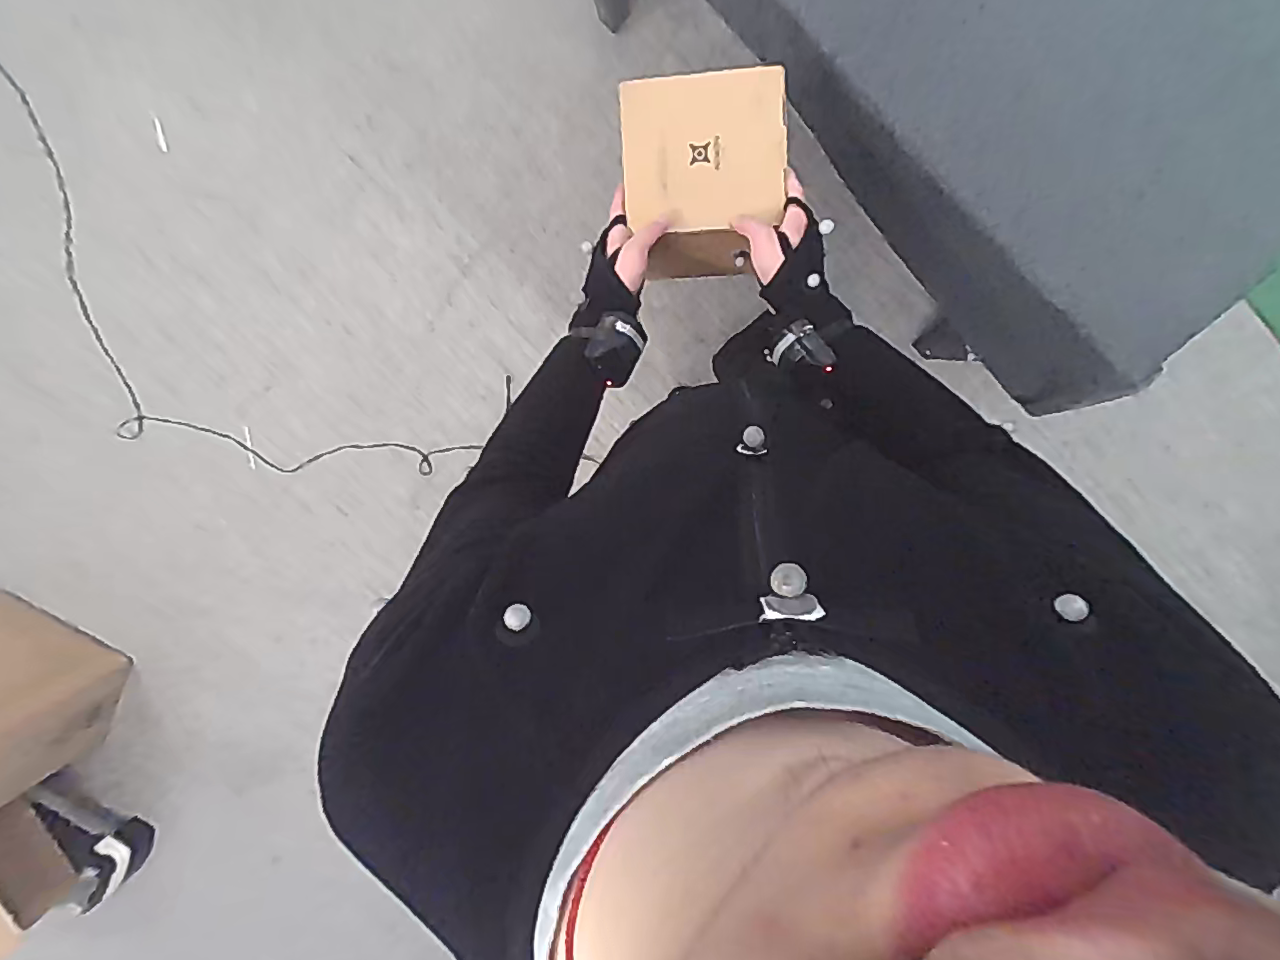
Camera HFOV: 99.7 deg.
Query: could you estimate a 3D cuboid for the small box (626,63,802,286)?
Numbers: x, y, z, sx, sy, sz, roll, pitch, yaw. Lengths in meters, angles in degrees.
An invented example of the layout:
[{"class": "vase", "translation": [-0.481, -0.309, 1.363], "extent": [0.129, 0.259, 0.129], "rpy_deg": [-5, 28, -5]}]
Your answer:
[{"class": "small box", "translation": [0.081, -0.342, 0.639], "extent": [0.179, 0.176, 0.168], "rpy_deg": [-4, 92, 4]}]
